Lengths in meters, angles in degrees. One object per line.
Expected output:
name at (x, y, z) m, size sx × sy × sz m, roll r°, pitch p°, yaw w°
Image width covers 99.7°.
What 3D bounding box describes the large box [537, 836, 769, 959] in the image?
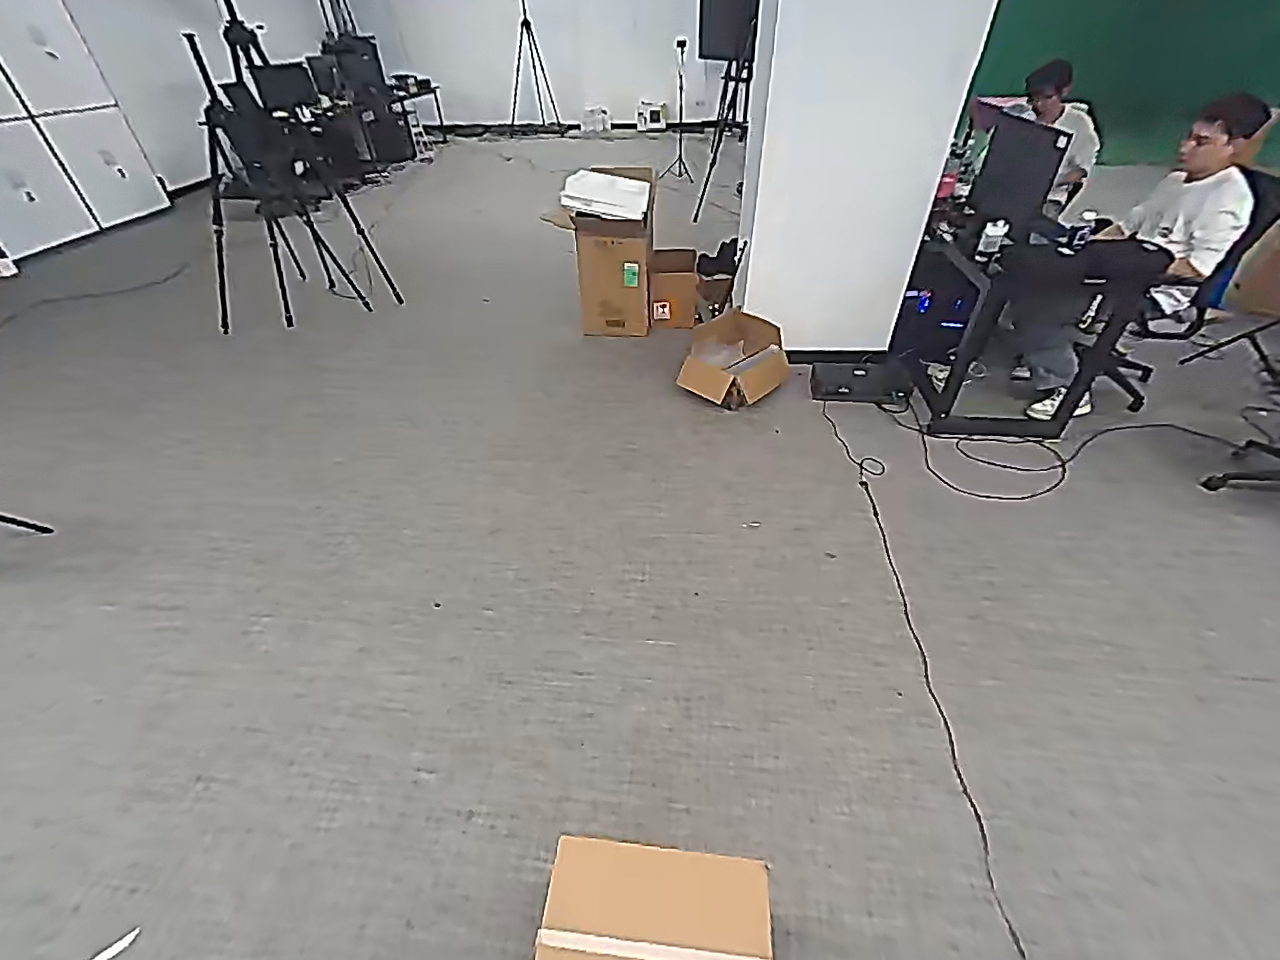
large box at (0.022, 0.926, 1.031) m, size 0.408 × 0.320 × 0.320 m, roll 4°, pitch 41°, yaw 5°
